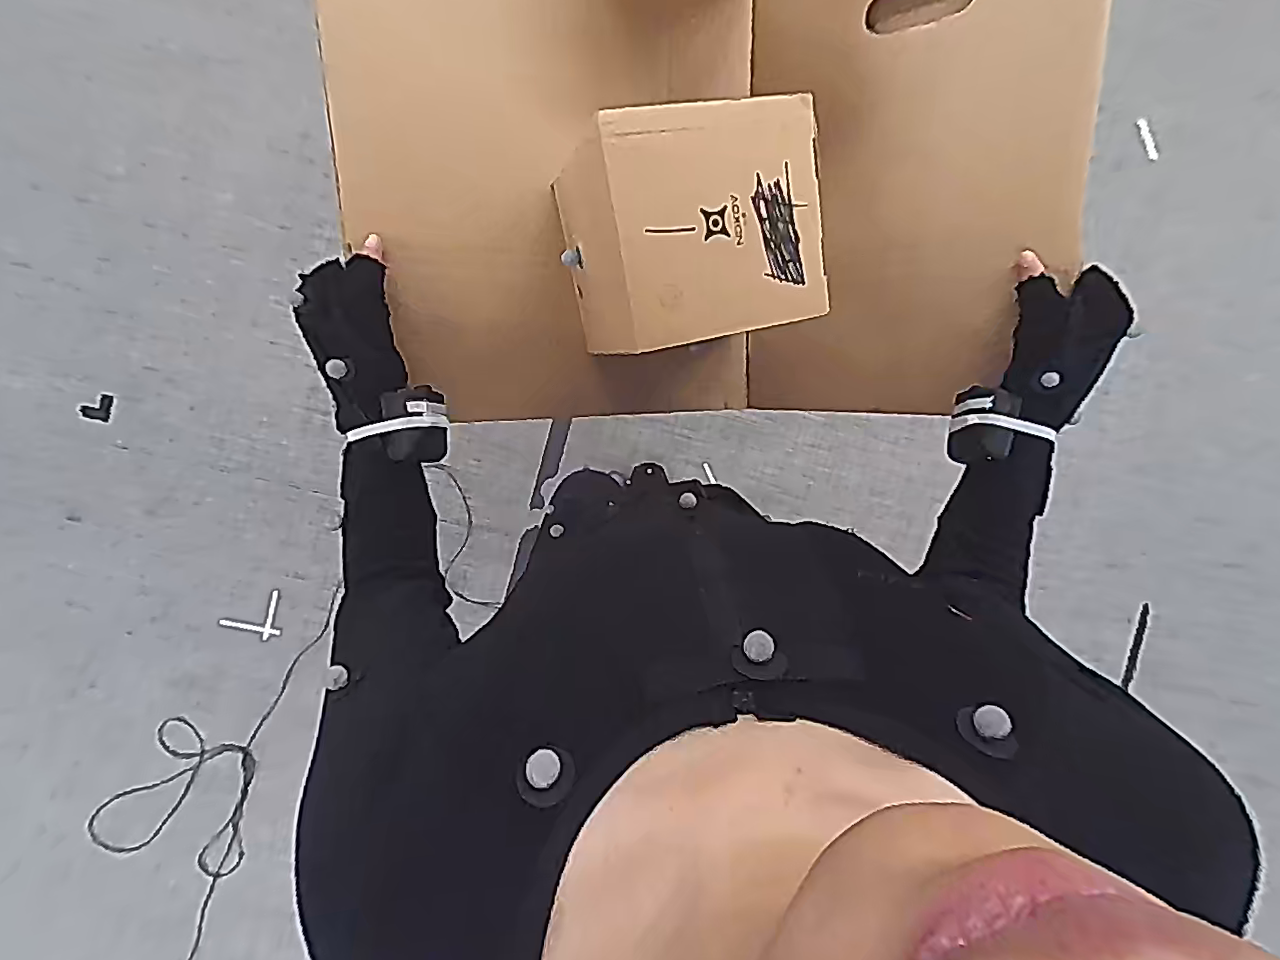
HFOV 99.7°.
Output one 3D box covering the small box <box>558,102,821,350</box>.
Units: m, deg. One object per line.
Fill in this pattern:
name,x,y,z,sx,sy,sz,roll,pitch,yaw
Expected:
small box,0.038,-0.217,0.495,0.179,0.176,0.168,-15,106,-15
